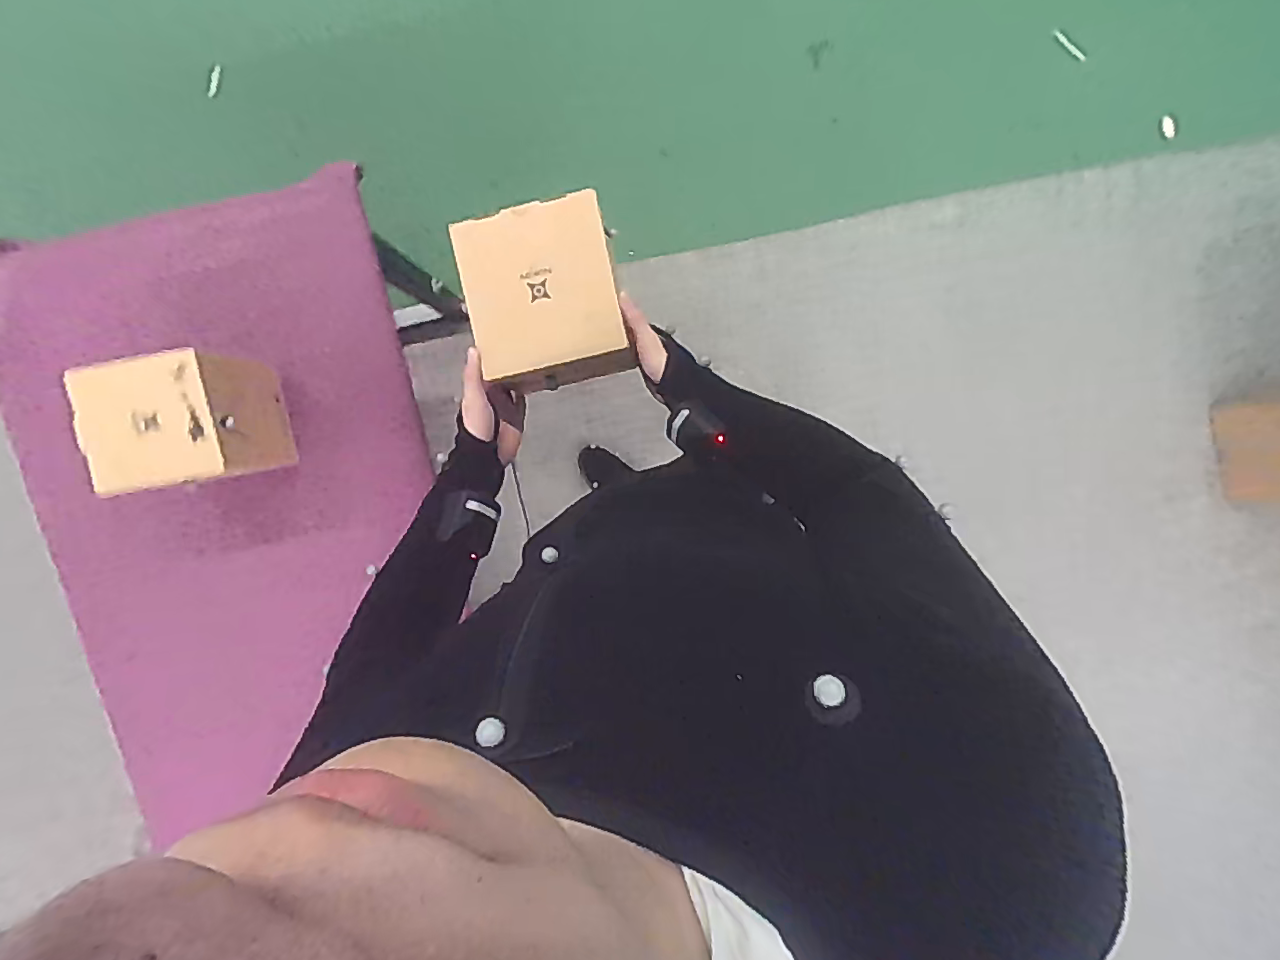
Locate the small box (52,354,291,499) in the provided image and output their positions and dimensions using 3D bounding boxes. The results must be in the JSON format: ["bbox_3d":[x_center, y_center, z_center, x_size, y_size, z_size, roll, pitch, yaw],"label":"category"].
[{"bbox_3d":[-0.650,-0.075,0.774,0.179,0.176,0.168,-11,97,0],"label":"small box"}]

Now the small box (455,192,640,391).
[{"bbox_3d":[-0.098,-0.209,0.654,0.168,0.176,0.179,-12,94,3],"label":"small box"}]
